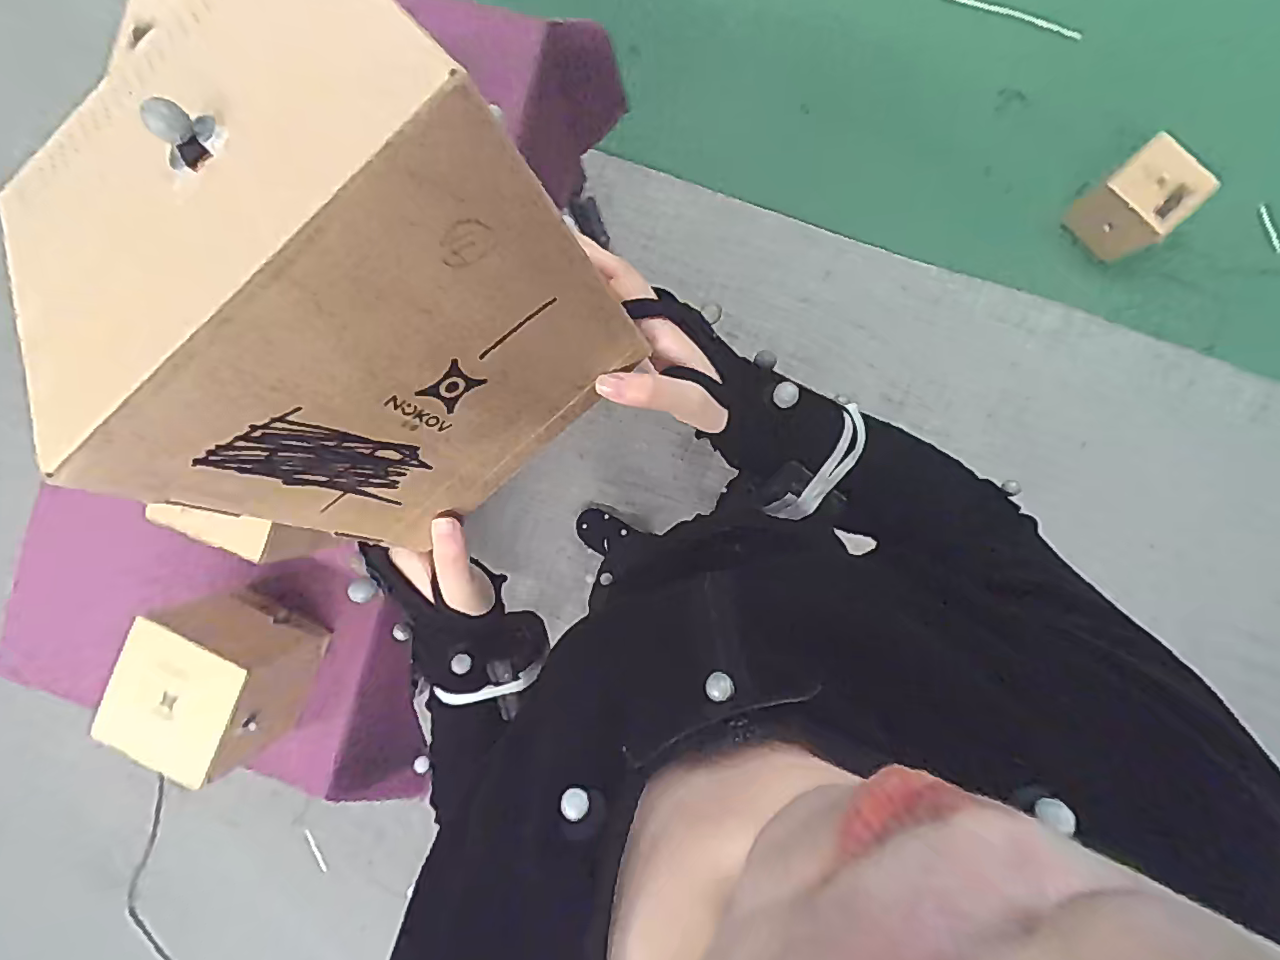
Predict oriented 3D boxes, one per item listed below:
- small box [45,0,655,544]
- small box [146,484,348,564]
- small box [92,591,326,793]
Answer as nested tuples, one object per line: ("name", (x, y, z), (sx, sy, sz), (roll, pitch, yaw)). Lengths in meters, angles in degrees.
("small box", (-0.127, -0.097, 0.261), (0.179, 0.168, 0.176), (-39, 67, 6))
("small box", (-0.504, -0.007, 0.743), (0.168, 0.176, 0.179), (21, 94, 5))
("small box", (-0.587, 0.282, 0.760), (0.168, 0.176, 0.179), (25, 93, 4))
